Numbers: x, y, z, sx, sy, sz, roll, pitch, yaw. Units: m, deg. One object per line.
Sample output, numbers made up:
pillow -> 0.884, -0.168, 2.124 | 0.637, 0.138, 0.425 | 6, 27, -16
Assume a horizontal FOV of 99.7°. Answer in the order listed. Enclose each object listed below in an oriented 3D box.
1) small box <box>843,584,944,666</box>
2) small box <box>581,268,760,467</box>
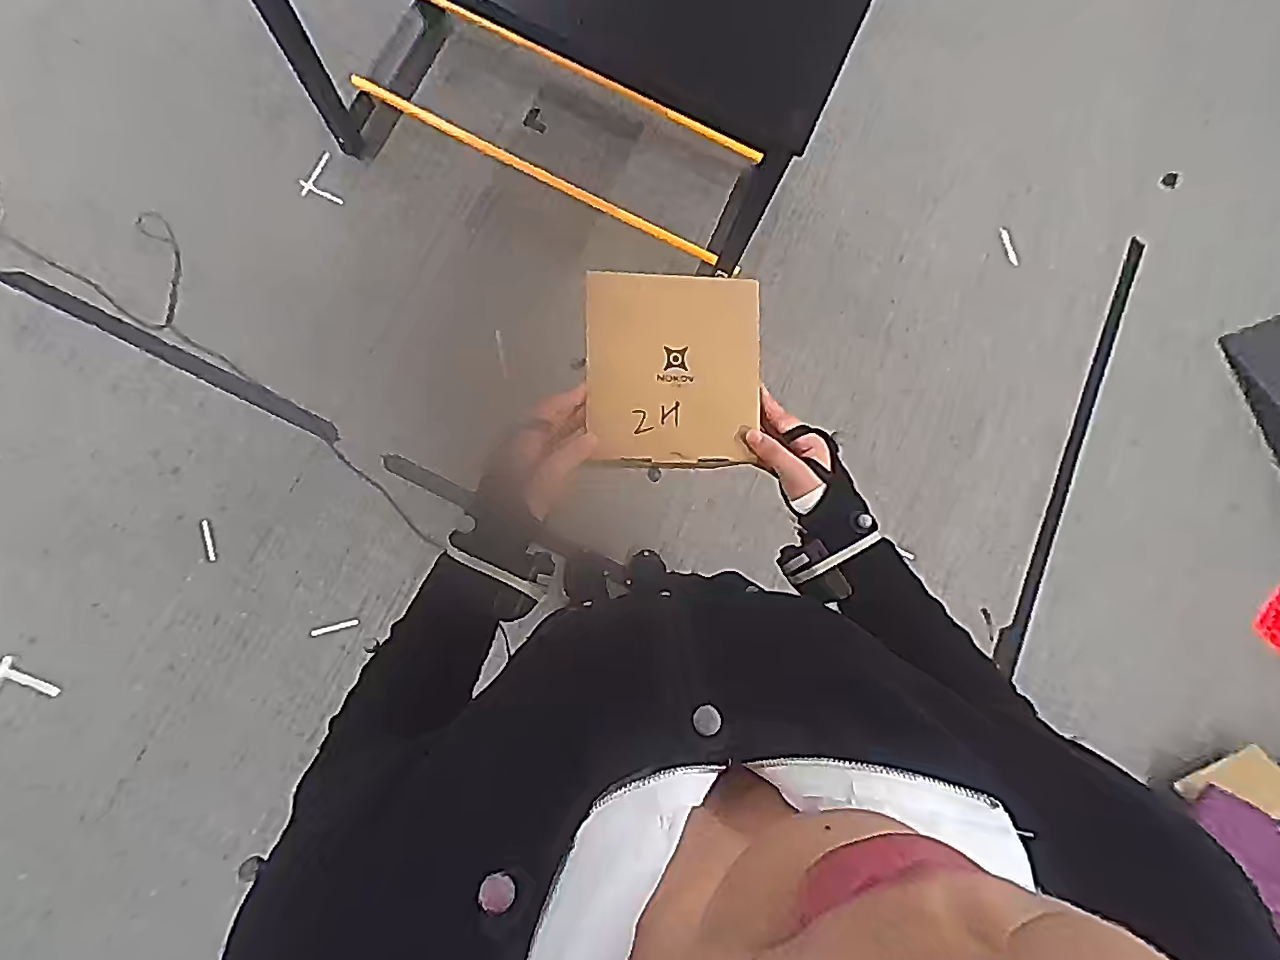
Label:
small box -> 0.685, 0.389, 1.480 | 0.179, 0.176, 0.168 | 19, 80, -2
small box -> 0.021, -0.105, 0.582 | 0.168, 0.176, 0.179 | 0, 89, -7
